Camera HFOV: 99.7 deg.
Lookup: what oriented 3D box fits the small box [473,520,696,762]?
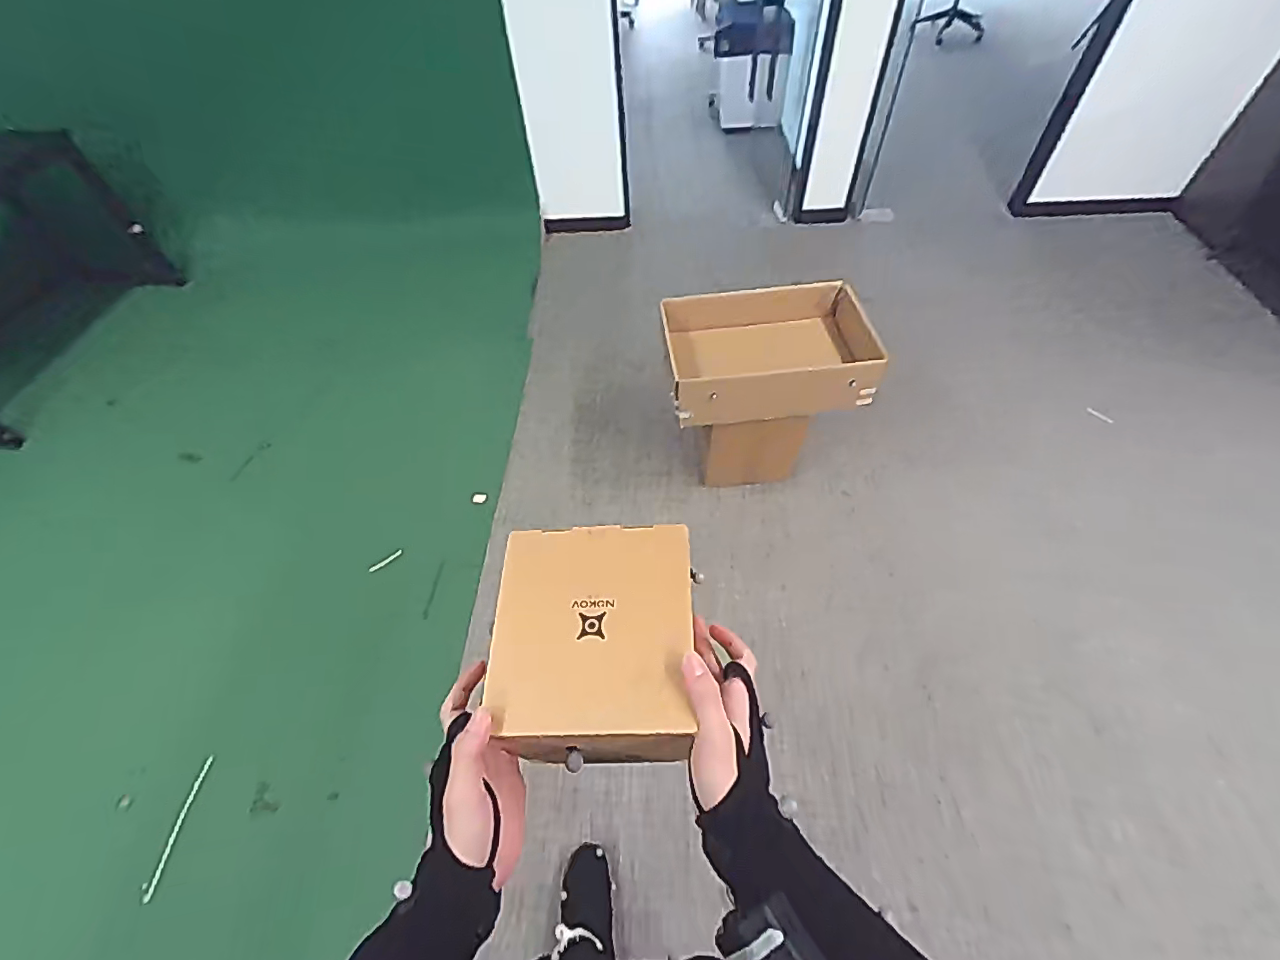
[{"bbox_3d":[-0.034,0.154,0.498,0.168,0.176,0.179,-2,55,4],"label":"small box"}]
